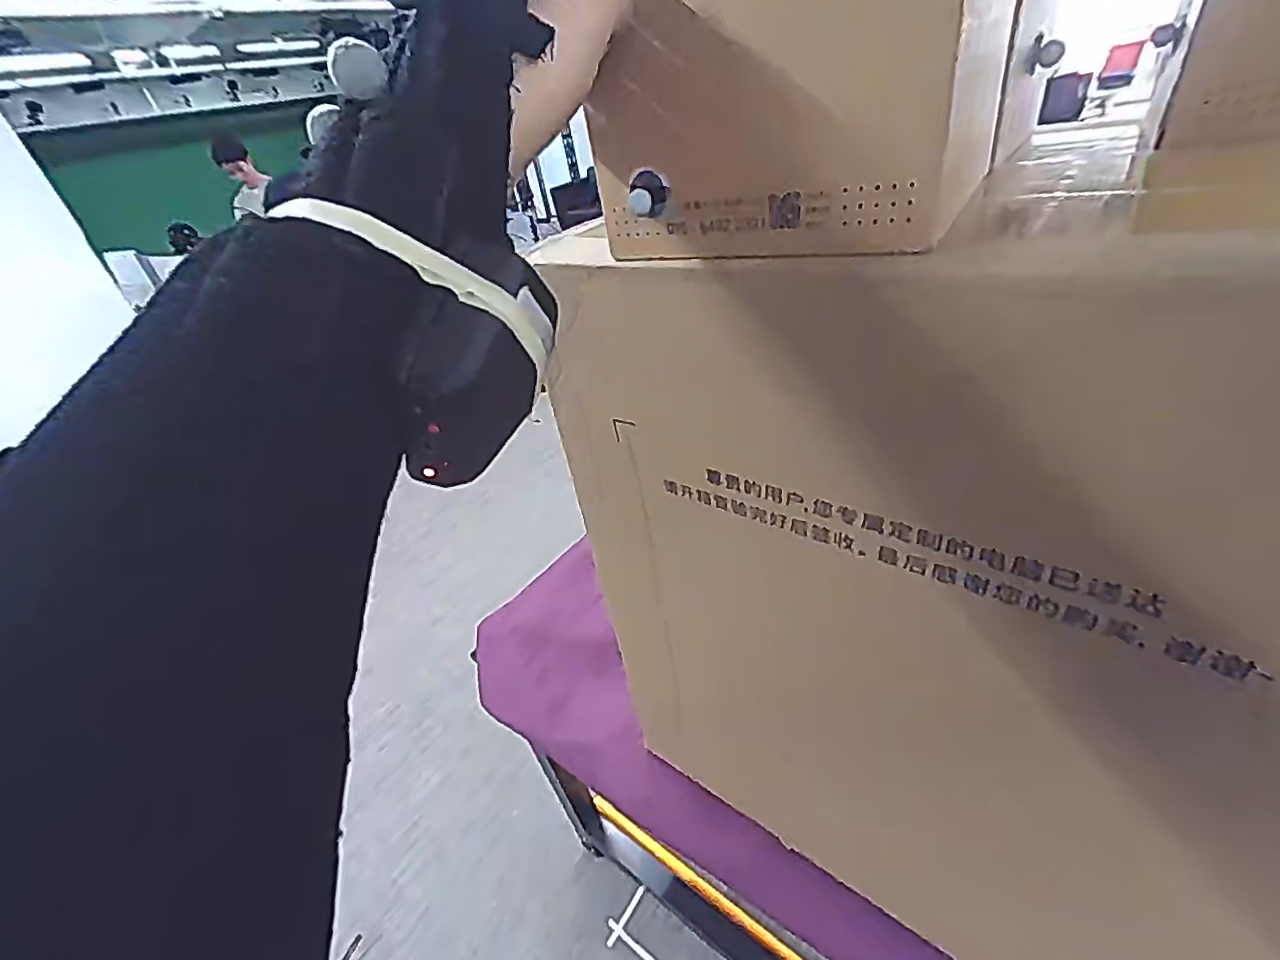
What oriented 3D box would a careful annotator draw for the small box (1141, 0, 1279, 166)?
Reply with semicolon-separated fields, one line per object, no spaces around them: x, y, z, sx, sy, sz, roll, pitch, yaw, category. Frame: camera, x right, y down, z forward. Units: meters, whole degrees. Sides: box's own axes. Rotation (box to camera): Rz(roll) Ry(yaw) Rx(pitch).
0.387;-0.271;0.263;0.179;0.176;0.168;12;41;33;small box
